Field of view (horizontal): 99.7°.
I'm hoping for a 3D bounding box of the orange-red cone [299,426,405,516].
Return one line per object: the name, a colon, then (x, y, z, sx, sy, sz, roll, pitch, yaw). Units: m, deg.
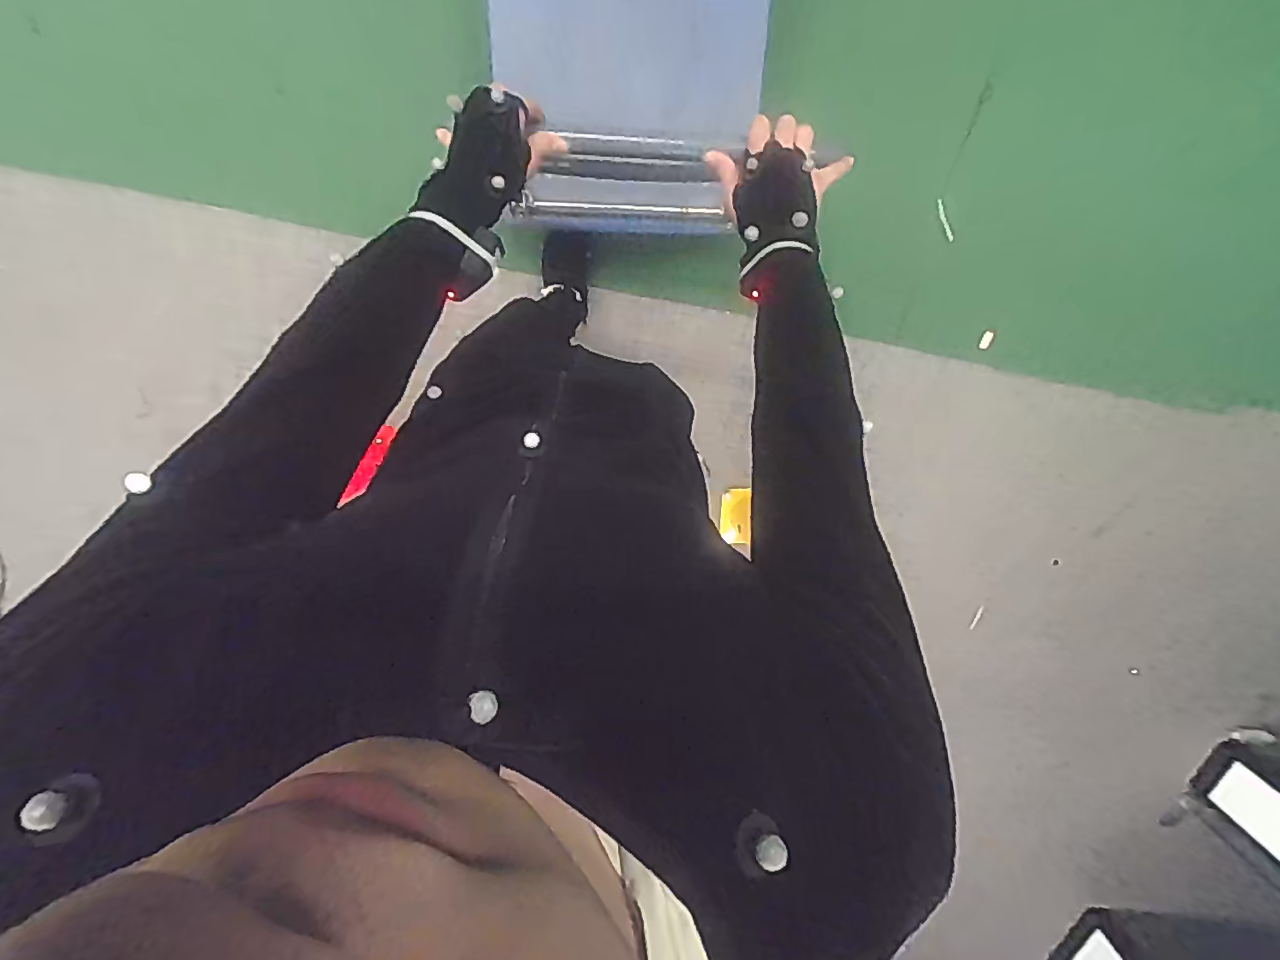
orange-red cone: (-0.794, 0.004, 1.430, 0.199, 0.360, 0.198, -4, 113, -2)
